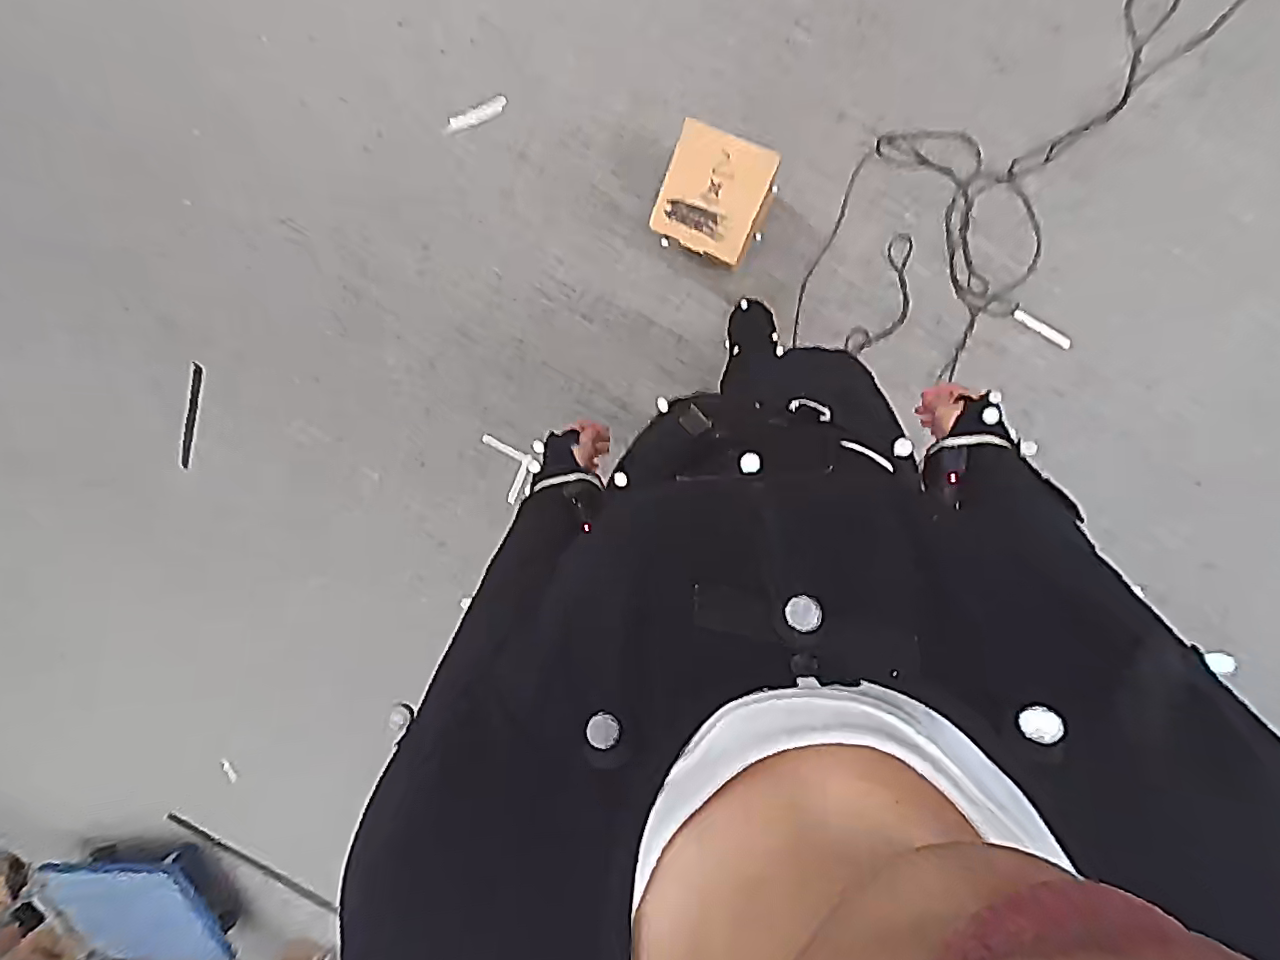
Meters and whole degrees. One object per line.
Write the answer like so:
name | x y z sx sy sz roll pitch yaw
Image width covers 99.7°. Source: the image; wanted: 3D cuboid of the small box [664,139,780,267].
small box | 0.171 -0.557 1.114 0.168 0.176 0.179 29 113 0
